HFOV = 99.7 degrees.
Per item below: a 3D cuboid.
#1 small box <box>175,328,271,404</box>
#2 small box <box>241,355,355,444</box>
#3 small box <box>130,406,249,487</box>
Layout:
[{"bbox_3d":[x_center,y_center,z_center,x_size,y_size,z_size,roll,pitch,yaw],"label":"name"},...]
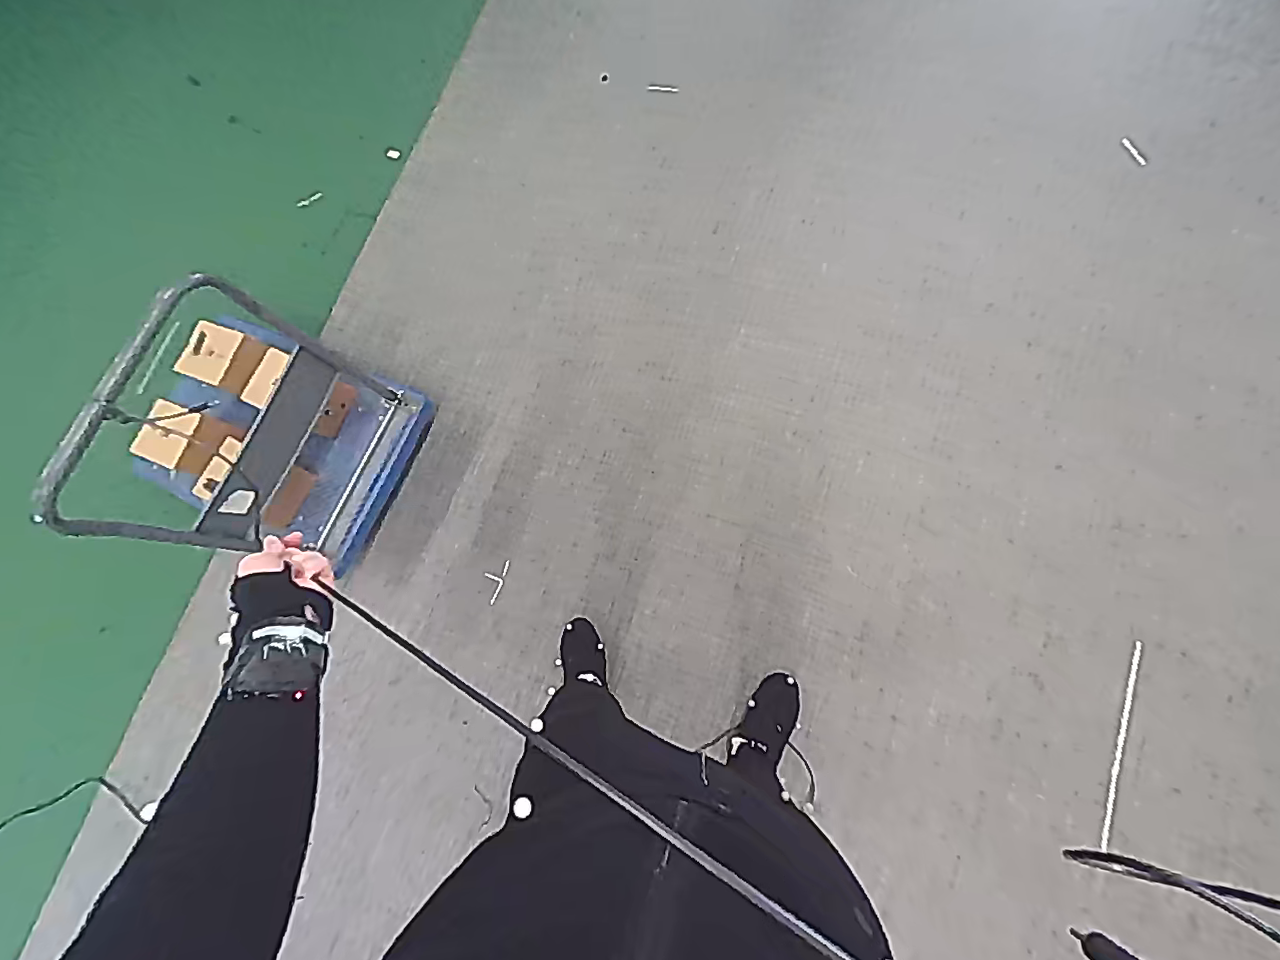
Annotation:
[{"bbox_3d":[-1.203,-0.322,1.607,0.179,0.176,0.168,19,81,14],"label":"small box"},{"bbox_3d":[-0.963,-0.222,1.536,0.179,0.176,0.168,24,81,15],"label":"small box"},{"bbox_3d":[-1.292,-0.090,1.564,0.179,0.176,0.168,19,79,15],"label":"small box"}]
